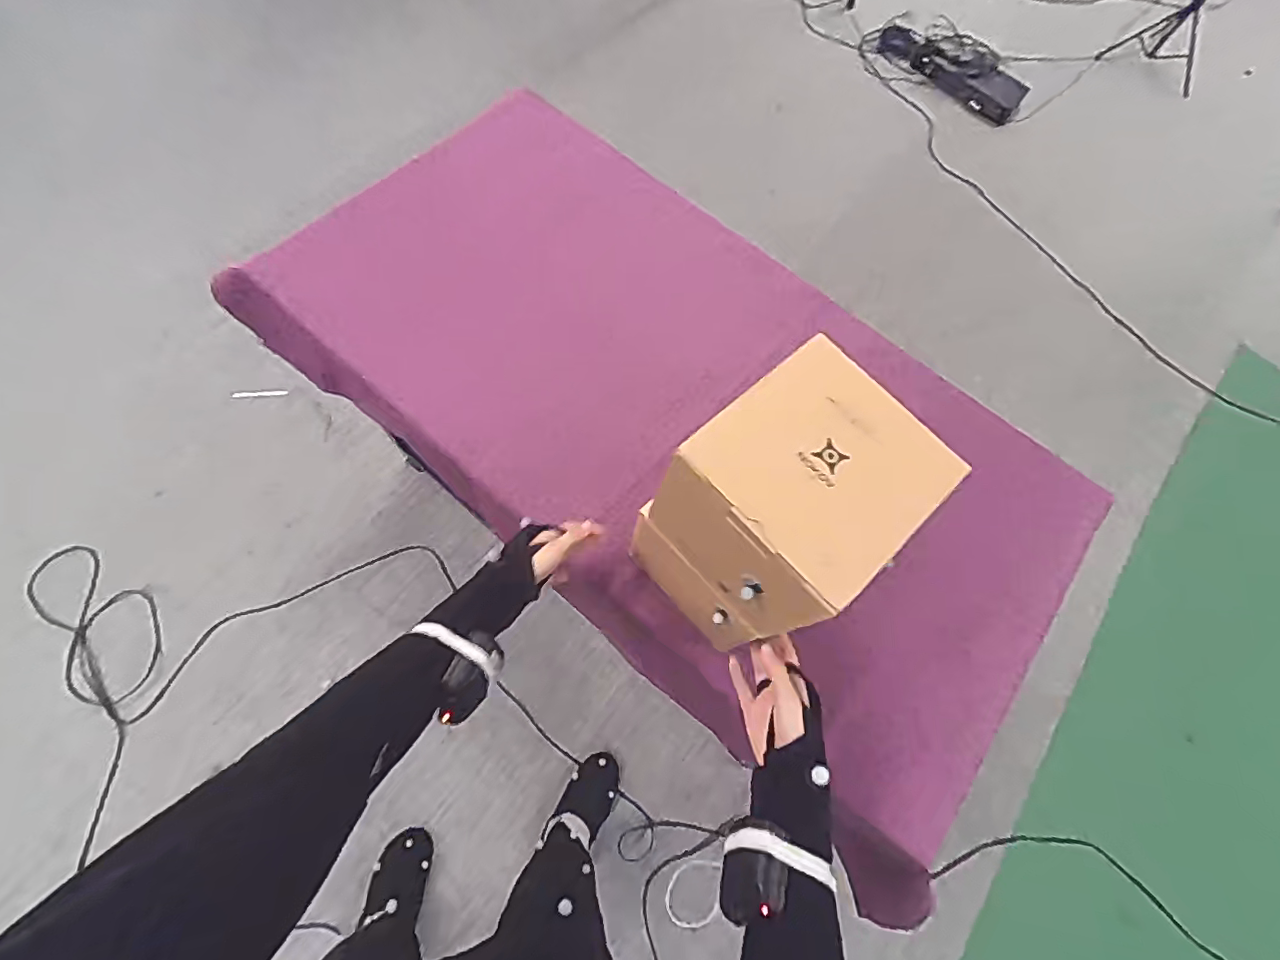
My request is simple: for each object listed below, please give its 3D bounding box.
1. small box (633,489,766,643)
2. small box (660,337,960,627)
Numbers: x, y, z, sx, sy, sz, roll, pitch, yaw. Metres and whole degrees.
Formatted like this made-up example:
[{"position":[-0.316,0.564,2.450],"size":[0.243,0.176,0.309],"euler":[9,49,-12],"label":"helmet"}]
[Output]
[{"position":[0.108,0.073,0.645],"size":[0.168,0.176,0.179],"euler":[-40,77,-20],"label":"small box"},{"position":[0.134,0.013,0.496],"size":[0.179,0.176,0.168],"euler":[-38,77,-20],"label":"small box"}]
